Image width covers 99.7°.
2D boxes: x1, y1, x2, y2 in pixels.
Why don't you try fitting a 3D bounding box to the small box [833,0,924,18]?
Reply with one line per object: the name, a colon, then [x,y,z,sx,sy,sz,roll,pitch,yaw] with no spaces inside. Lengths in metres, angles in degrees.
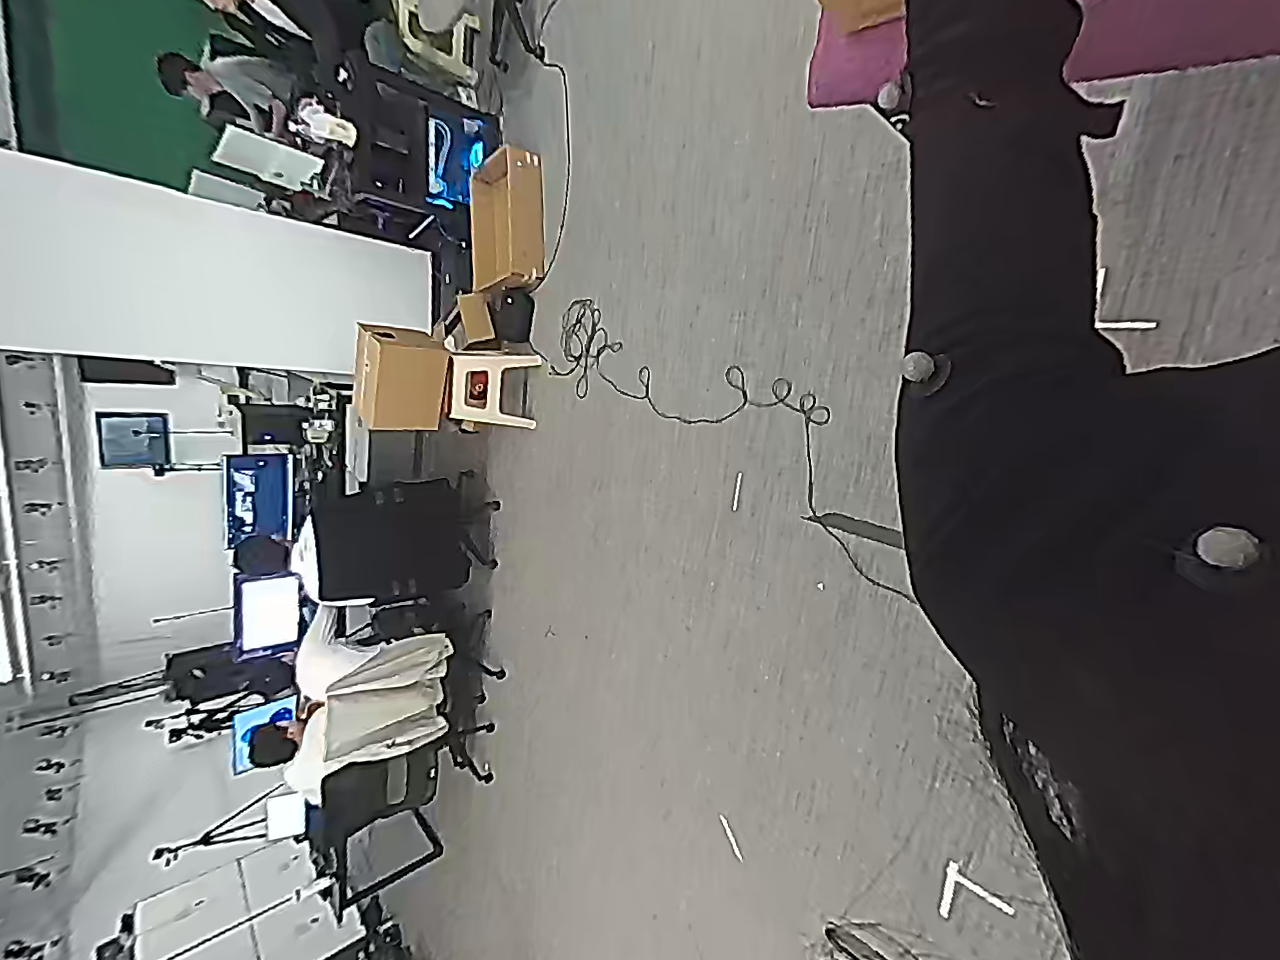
small box: [0.327,-0.737,0.684,0.168,0.176,0.179,19,105,42]
